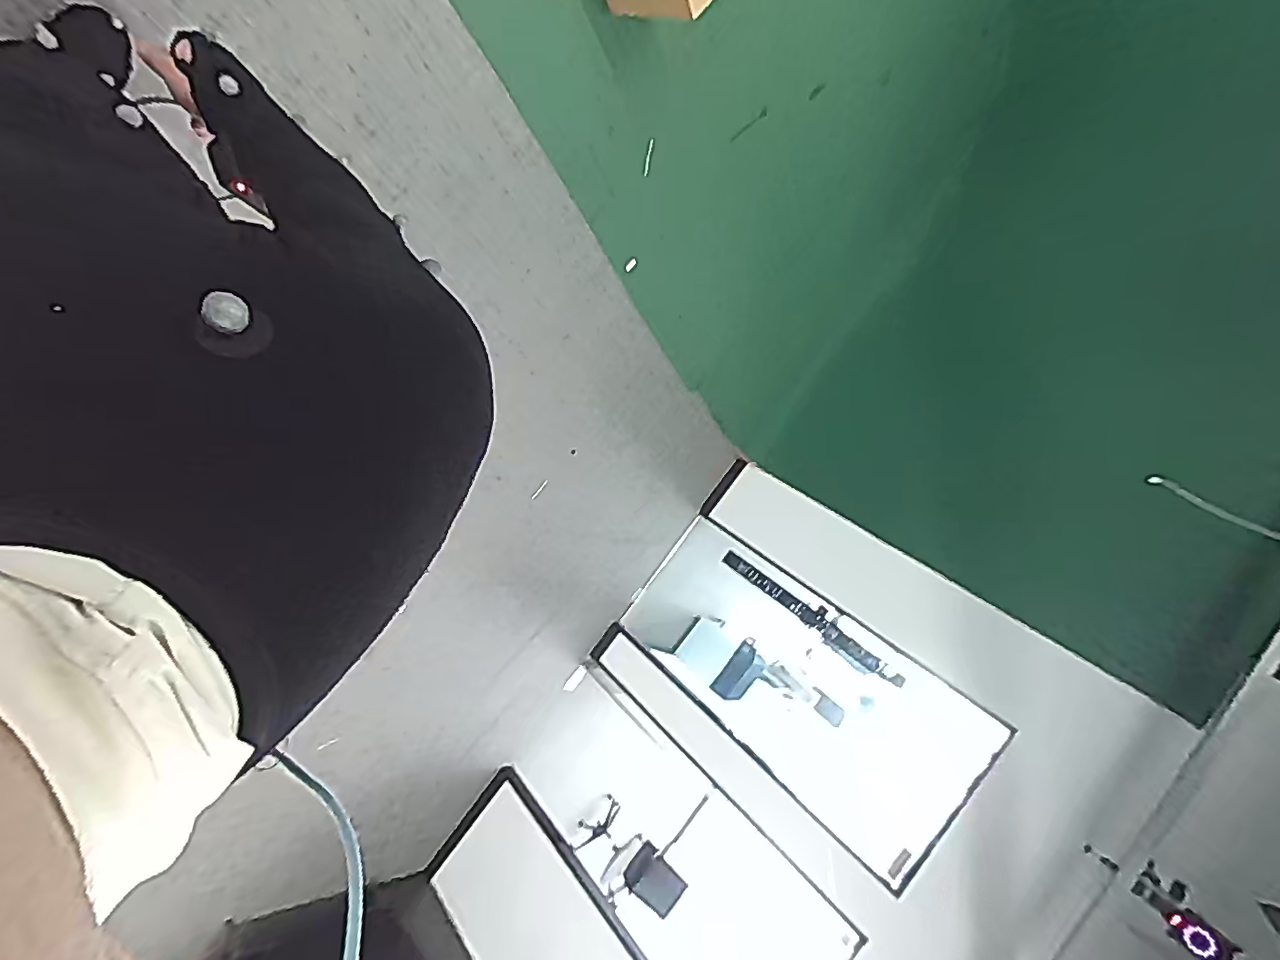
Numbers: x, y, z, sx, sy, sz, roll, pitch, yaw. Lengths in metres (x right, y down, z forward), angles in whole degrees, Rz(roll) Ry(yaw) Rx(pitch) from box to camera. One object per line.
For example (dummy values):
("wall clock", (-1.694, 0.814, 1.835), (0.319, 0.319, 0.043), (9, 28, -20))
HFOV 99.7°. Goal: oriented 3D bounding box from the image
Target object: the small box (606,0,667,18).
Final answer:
("small box", (-0.003, -1.448, 1.515), (0.179, 0.176, 0.168), (-51, 147, -5))
